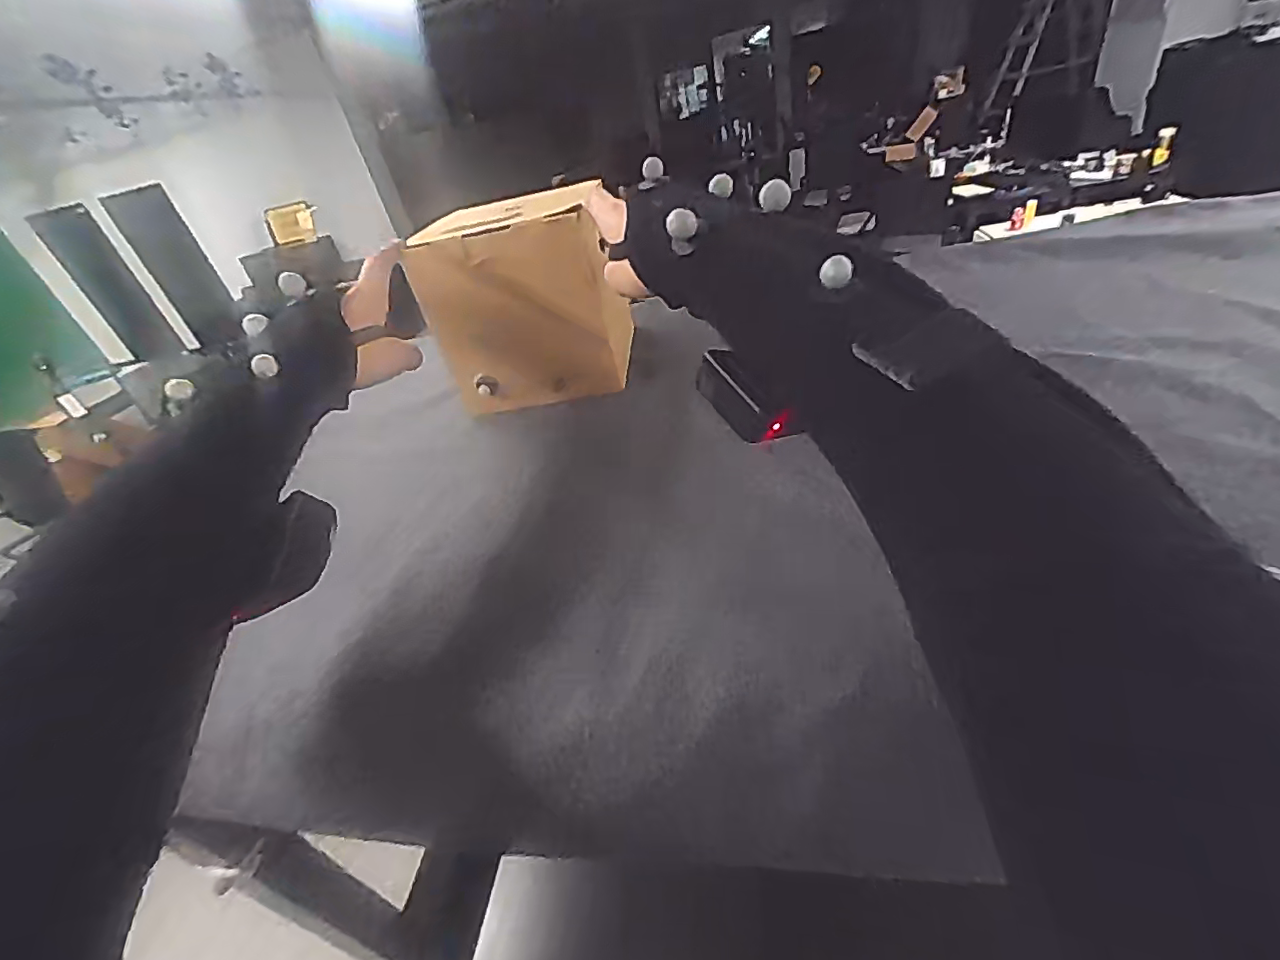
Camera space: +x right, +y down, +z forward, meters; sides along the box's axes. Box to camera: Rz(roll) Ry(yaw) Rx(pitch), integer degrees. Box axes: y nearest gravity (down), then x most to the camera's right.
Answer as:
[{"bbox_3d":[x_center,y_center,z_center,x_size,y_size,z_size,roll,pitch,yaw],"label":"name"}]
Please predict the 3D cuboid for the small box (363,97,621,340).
[{"bbox_3d":[-0.118,-0.245,0.521,0.168,0.176,0.179,-7,36,9],"label":"small box"}]
